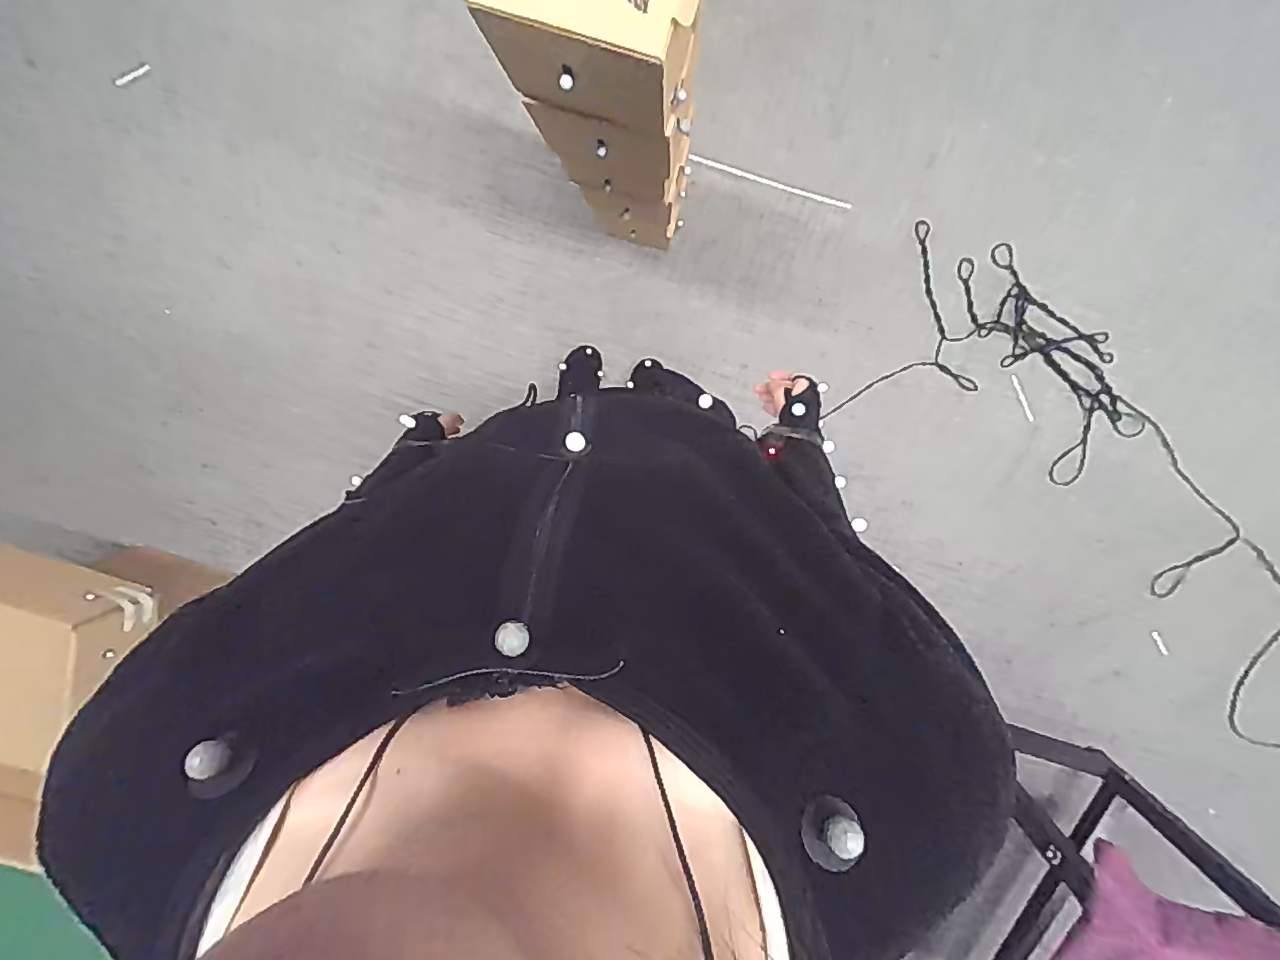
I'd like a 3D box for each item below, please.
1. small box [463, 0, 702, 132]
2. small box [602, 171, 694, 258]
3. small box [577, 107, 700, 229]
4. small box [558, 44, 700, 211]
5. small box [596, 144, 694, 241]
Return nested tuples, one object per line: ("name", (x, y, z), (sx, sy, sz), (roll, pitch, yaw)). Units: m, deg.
("small box", (-0.036, -0.459, 0.505), (0.179, 0.176, 0.168), (17, 103, 0))
("small box", (0.018, -0.651, 1.299), (0.179, 0.176, 0.168), (16, 102, -2))
("small box", (-0.002, -0.573, 0.982), (0.179, 0.176, 0.168), (14, 102, -1))
("small box", (-0.016, -0.539, 0.822), (0.168, 0.176, 0.179), (14, 103, -1))
("small box", (0.003, -0.621, 1.138), (0.179, 0.176, 0.168), (16, 103, -2))
